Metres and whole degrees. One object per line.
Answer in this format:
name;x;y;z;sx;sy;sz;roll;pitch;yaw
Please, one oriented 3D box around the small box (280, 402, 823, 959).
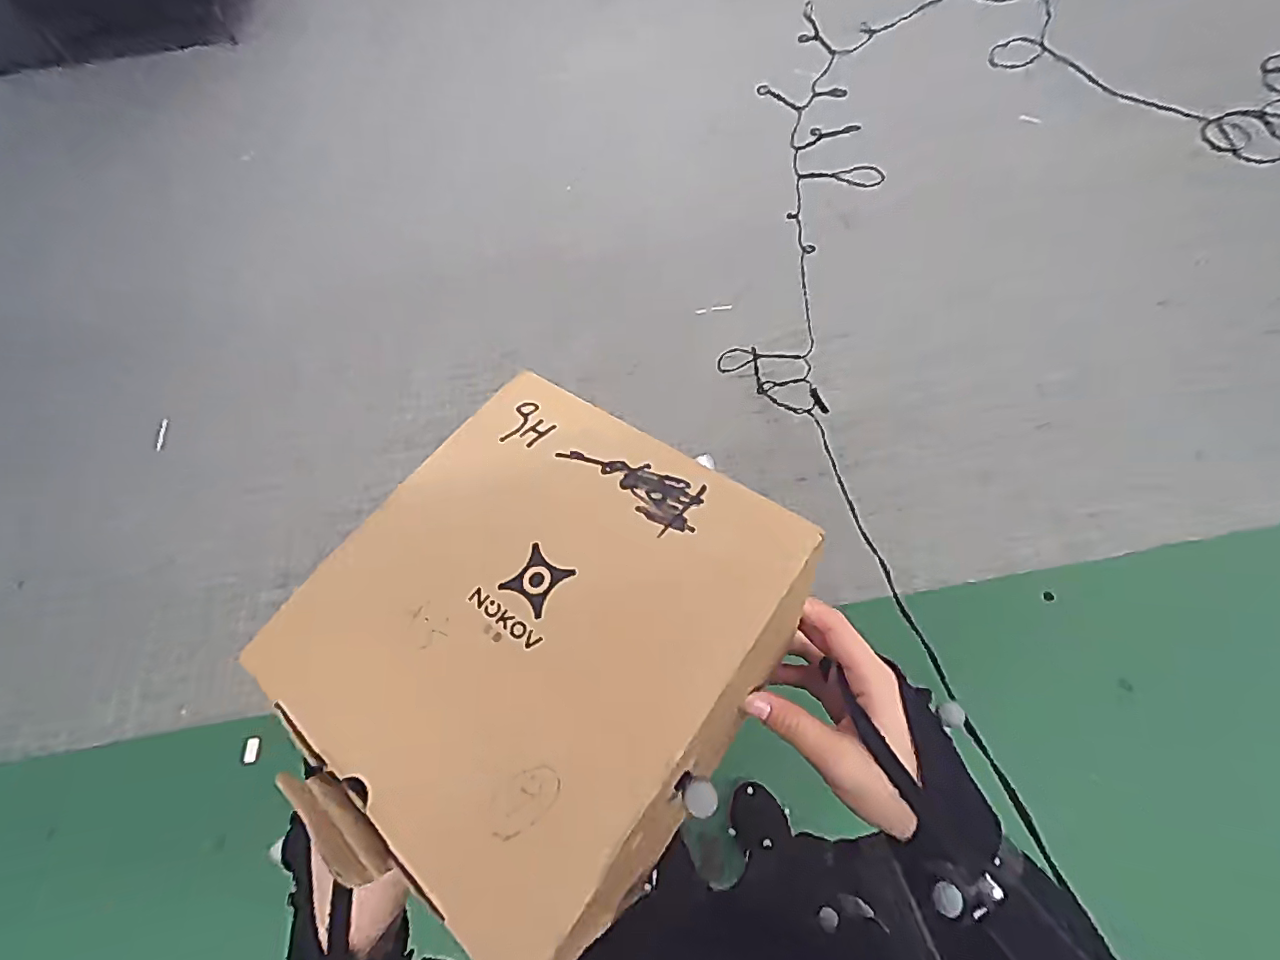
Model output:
small box;-0.026;0.098;0.287;0.168;0.176;0.179;30;69;25
